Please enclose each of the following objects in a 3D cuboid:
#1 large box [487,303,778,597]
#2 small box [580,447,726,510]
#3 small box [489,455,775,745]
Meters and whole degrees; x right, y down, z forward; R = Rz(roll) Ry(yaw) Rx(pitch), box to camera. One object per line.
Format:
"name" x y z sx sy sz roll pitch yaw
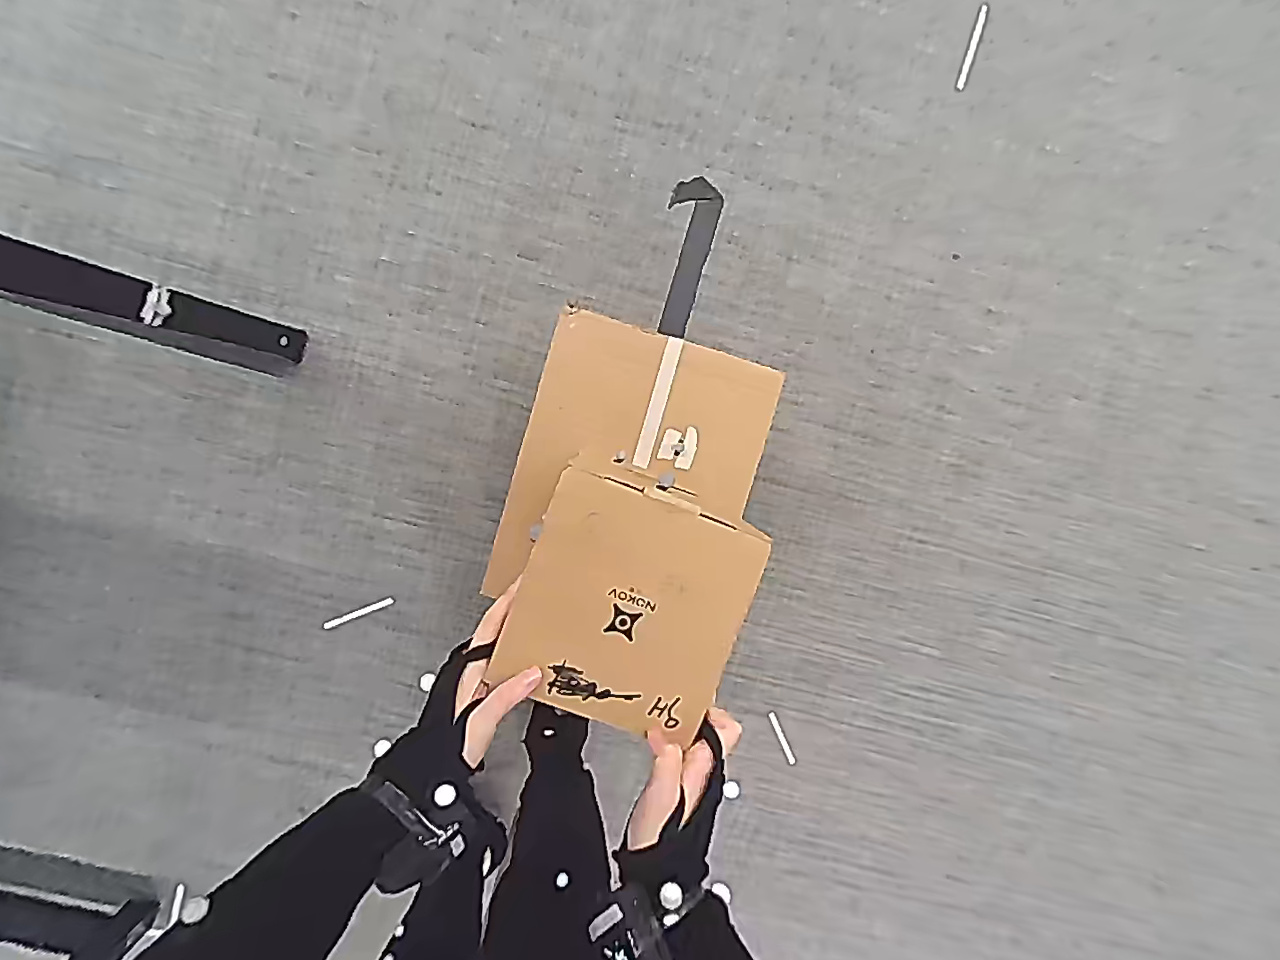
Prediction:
"large box" -0.018 -0.010 0.876 0.320 0.320 0.408 16 92 -5
"small box" -0.019 0.068 0.638 0.168 0.176 0.179 21 94 -4
"small box" -0.010 0.085 0.476 0.168 0.176 0.179 22 93 -4
